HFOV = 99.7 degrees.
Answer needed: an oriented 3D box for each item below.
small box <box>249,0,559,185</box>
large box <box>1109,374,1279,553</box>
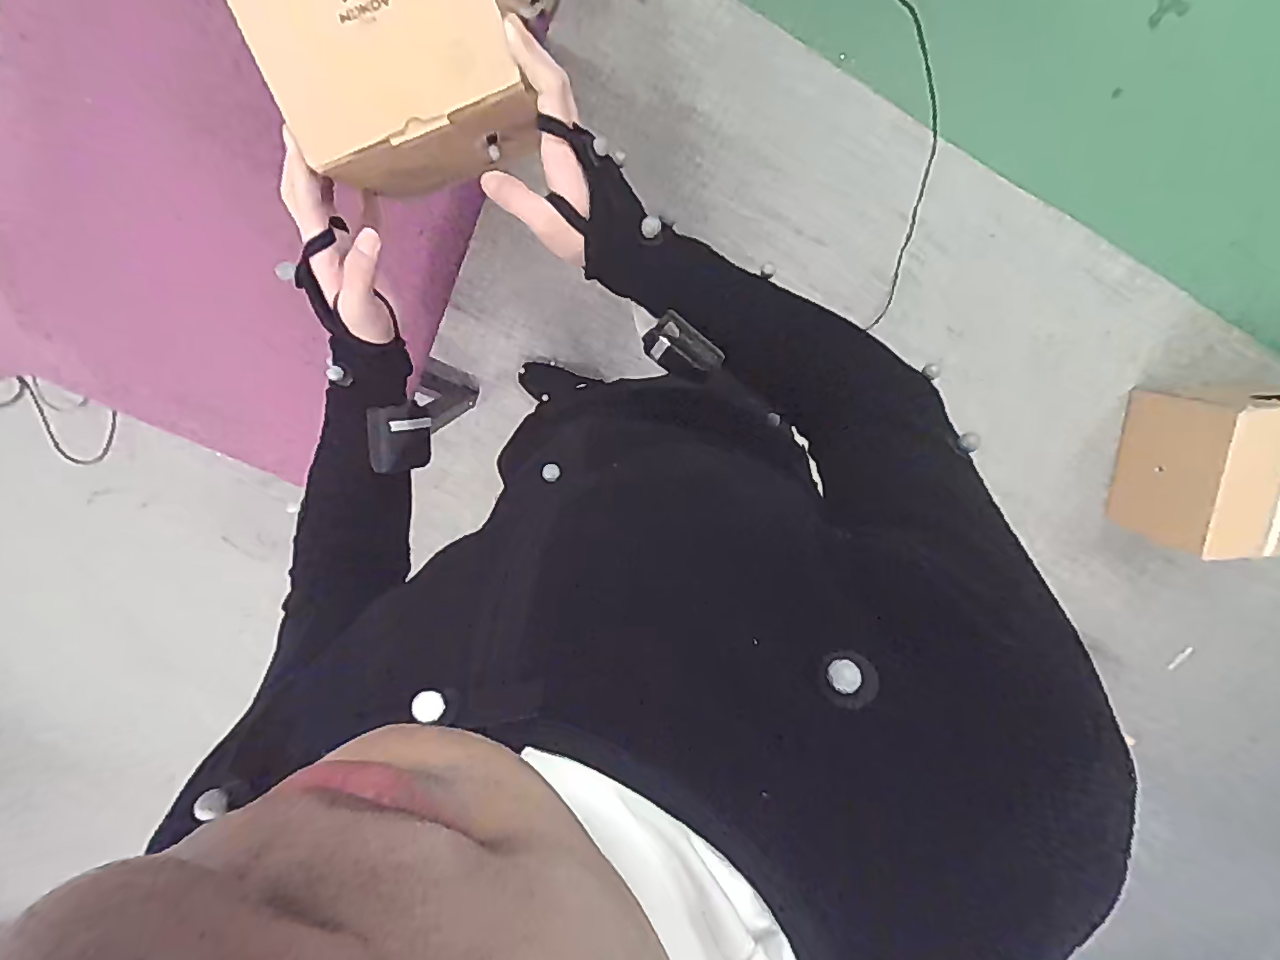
[{"bbox_3d":[-0.173,-0.351,0.423,0.168,0.176,0.179,-18,110,5],"label":"small box"},{"bbox_3d":[1.578,-0.056,1.475,0.320,0.320,0.408,-6,108,2],"label":"large box"}]
